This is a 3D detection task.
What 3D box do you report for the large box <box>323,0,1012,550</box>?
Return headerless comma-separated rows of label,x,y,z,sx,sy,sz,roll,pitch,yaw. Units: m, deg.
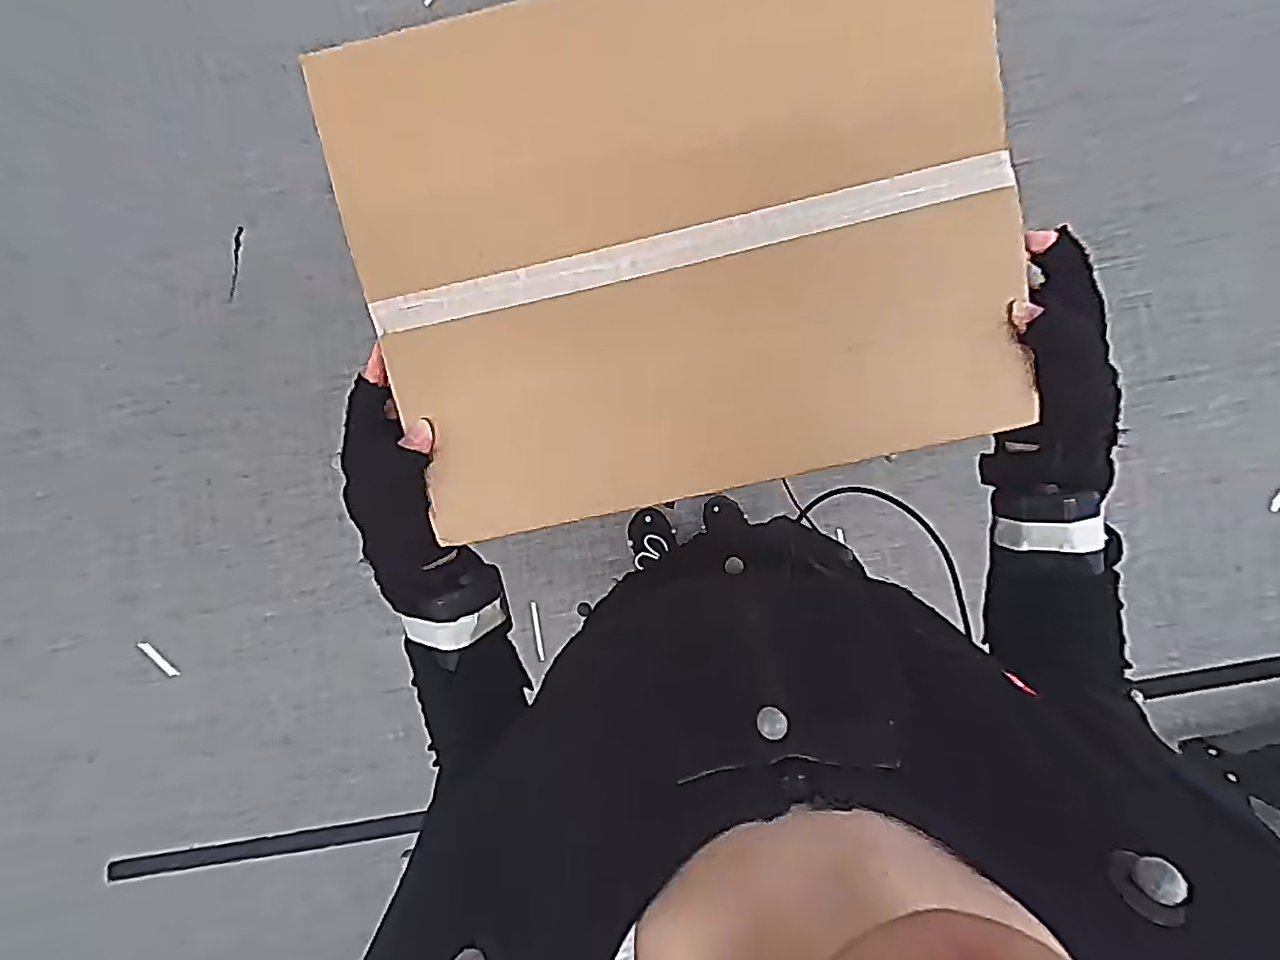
large box,0.029,-0.164,0.497,0.408,0.320,0.320,-12,98,3
